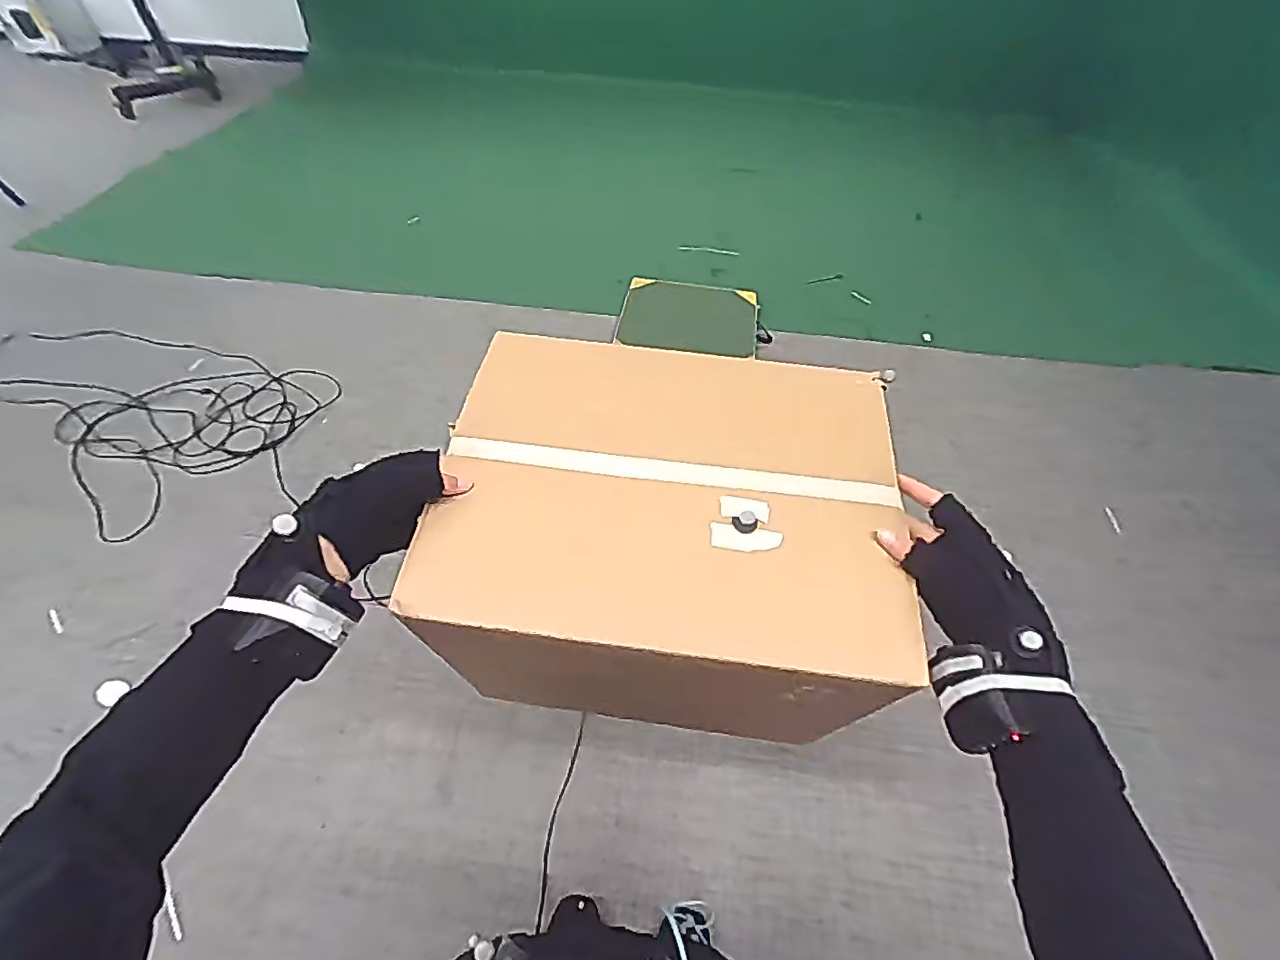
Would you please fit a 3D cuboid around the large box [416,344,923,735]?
[{"bbox_3d":[0.029,0.081,0.620,0.408,0.320,0.320,7,57,2],"label":"large box"}]
